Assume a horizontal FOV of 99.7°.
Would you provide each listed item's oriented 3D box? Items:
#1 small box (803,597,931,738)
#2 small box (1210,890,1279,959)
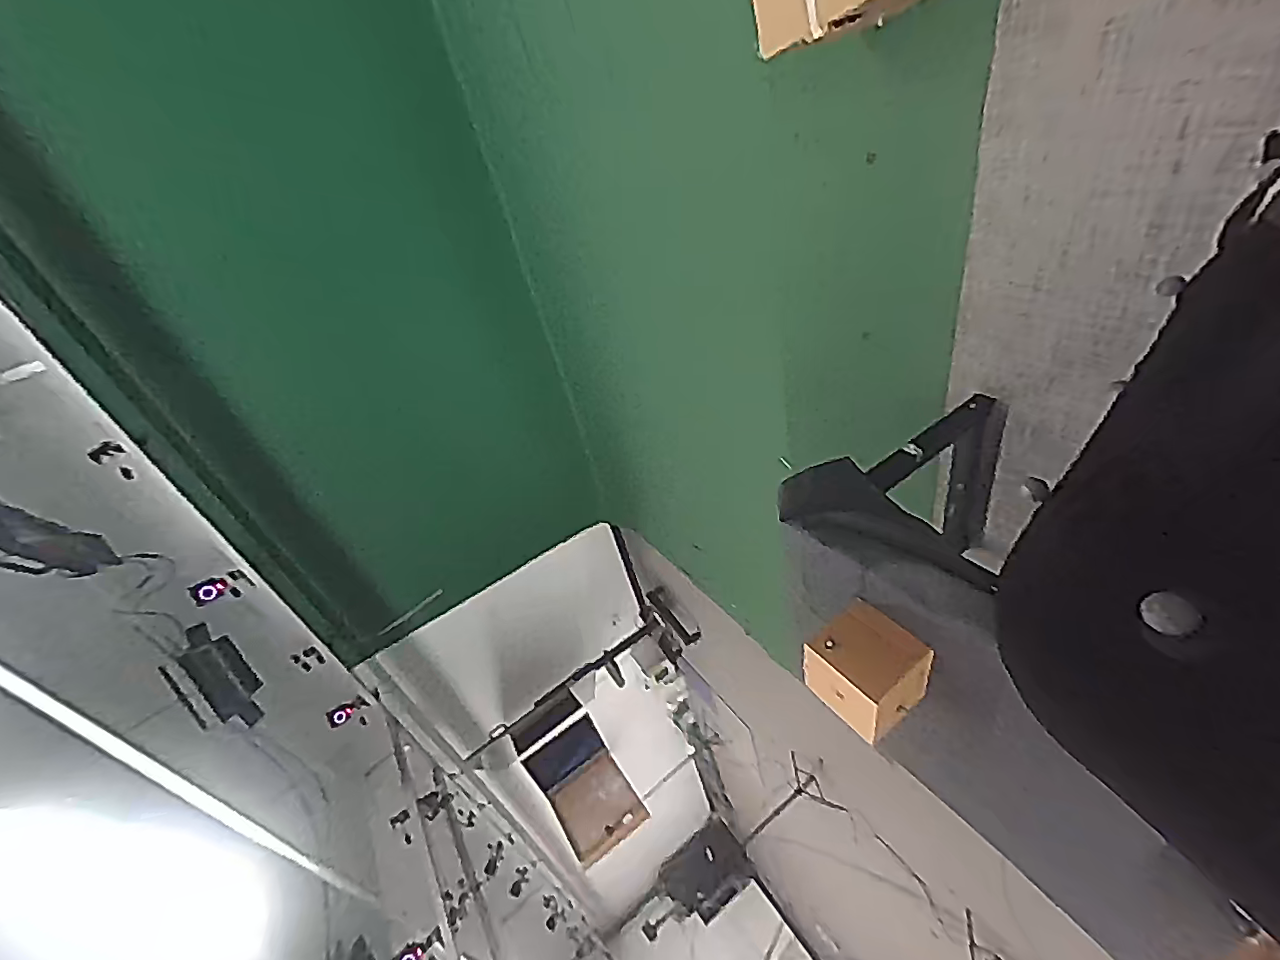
[{"bbox_3d":[0.458,0.373,1.101,0.179,0.176,0.168,39,153,46],"label":"small box"},{"bbox_3d":[0.805,0.642,0.632,0.179,0.176,0.168,38,150,49],"label":"small box"}]
